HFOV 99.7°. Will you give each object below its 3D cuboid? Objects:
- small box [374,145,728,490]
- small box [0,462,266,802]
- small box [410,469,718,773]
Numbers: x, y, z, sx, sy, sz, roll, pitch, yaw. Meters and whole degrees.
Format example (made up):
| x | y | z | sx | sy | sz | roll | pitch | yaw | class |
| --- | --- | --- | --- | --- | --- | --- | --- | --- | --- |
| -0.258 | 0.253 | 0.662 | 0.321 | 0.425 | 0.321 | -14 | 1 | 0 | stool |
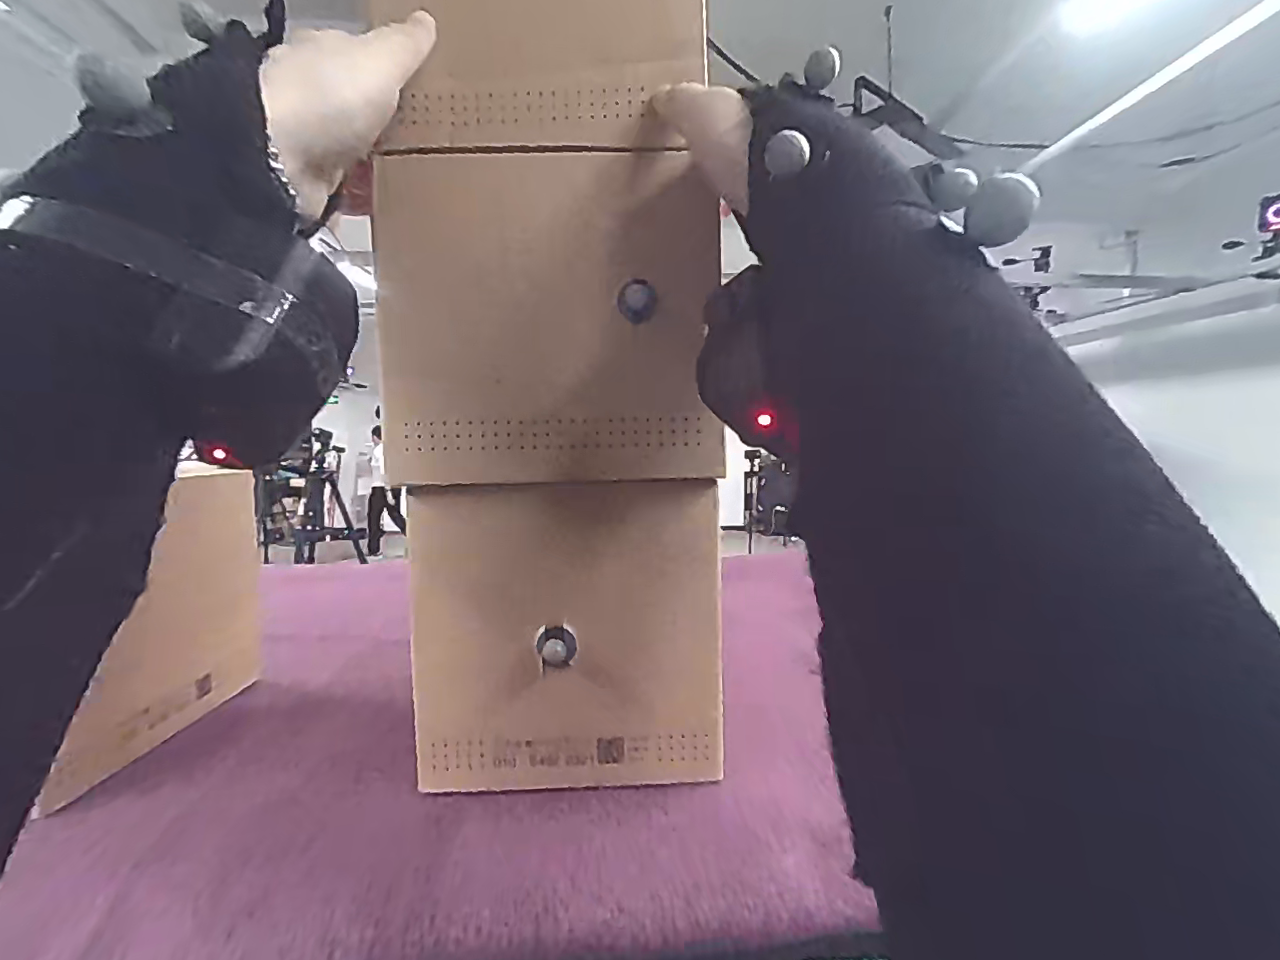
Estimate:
| x | y | z | sx | sy | sz | roll | pitch | yaw | class |
| --- | --- | --- | --- | --- | --- | --- | --- | --- | --- |
| -0.044 | -0.083 | 0.348 | 0.179 | 0.176 | 0.168 | -2 | 2 | -2 | small box |
| -0.379 | 0.078 | 0.345 | 0.179 | 0.176 | 0.168 | 0 | 5 | -1 | small box |
| -0.039 | 0.077 | 0.373 | 0.168 | 0.176 | 0.179 | 0 | 3 | -1 | small box |
